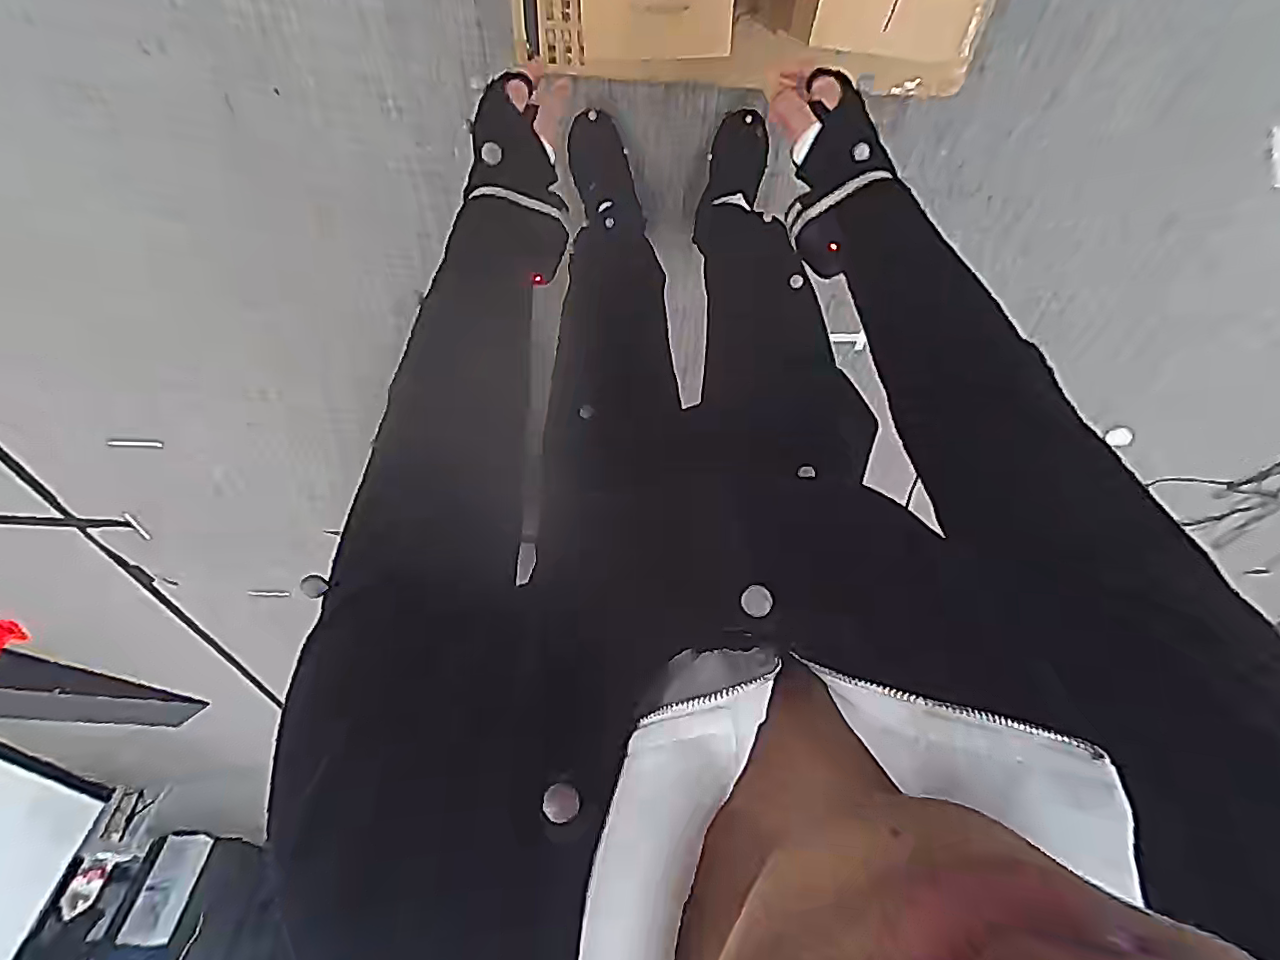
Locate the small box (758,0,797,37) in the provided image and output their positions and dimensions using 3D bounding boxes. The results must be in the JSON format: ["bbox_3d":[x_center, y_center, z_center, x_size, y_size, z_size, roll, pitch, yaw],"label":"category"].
[{"bbox_3d":[0.262,-0.707,0.719,0.168,0.176,0.179,2,135,-1],"label":"small box"}]

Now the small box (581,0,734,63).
[{"bbox_3d":[0.016,-0.589,0.602,0.168,0.176,0.179,-2,136,2],"label":"small box"}]

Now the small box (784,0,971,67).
[{"bbox_3d":[0.273,-0.591,0.602,0.168,0.176,0.179,4,135,-4],"label":"small box"}]
